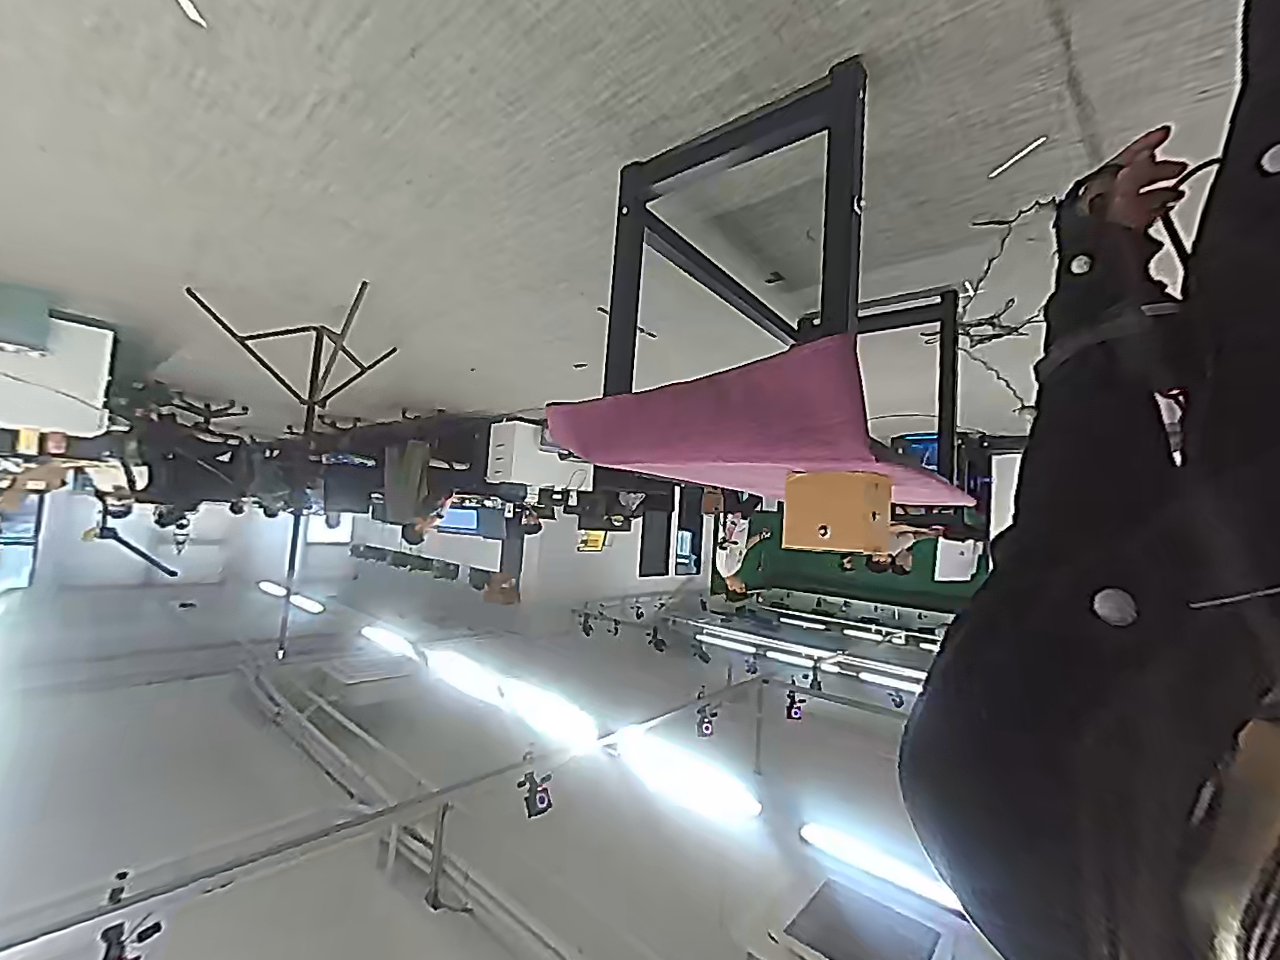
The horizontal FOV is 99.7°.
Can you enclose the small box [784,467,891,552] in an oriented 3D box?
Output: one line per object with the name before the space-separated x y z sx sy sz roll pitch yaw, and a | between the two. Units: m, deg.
small box | 0.427 0.062 1.165 0.179 0.176 0.168 1 175 42
